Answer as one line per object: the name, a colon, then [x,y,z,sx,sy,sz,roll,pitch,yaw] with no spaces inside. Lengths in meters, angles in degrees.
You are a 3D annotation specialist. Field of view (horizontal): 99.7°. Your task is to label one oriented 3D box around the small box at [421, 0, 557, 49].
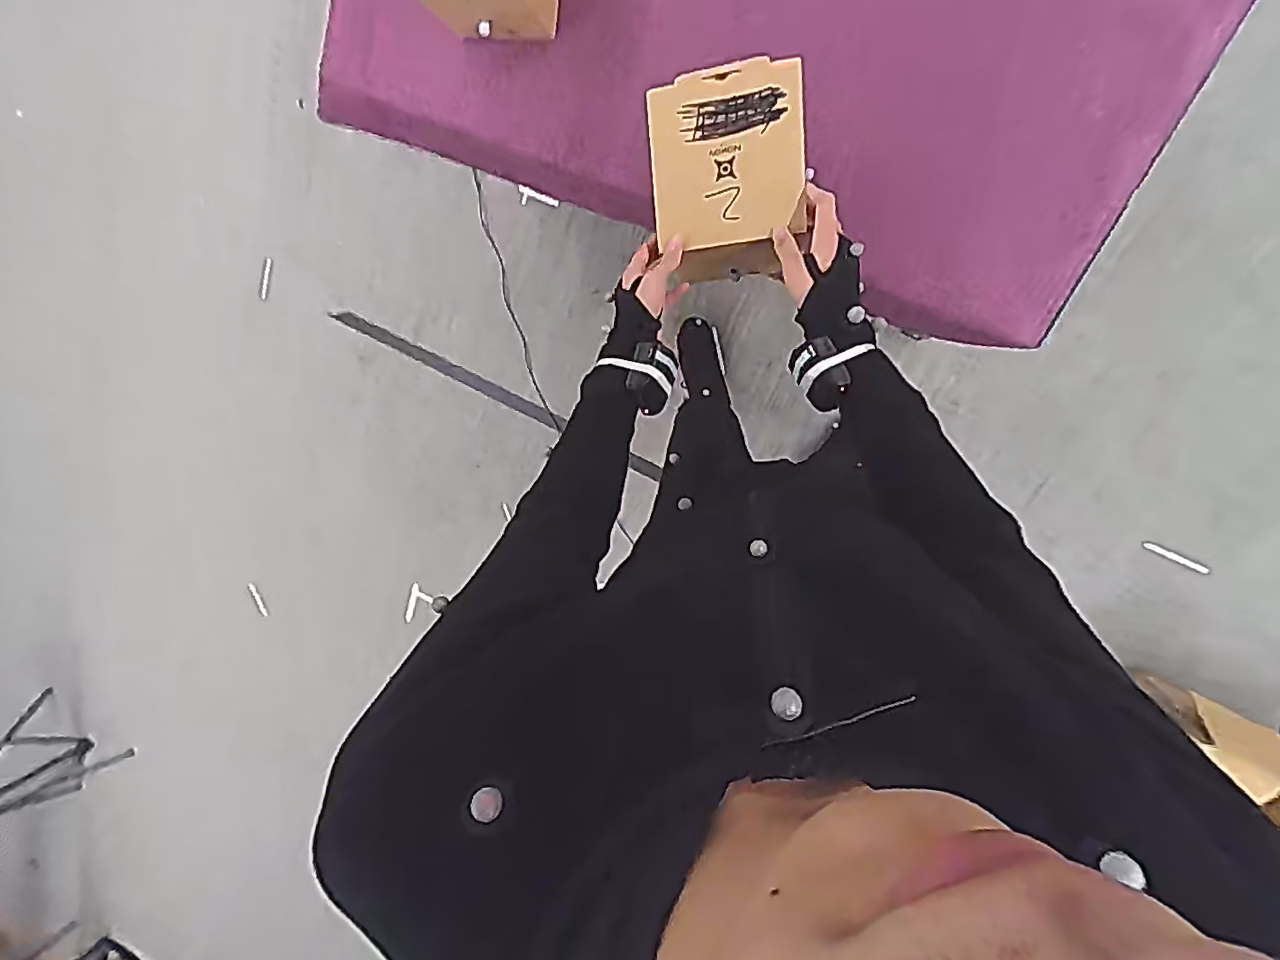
small box: [-0.213,-0.719,0.716,0.168,0.176,0.179,13,107,13]
